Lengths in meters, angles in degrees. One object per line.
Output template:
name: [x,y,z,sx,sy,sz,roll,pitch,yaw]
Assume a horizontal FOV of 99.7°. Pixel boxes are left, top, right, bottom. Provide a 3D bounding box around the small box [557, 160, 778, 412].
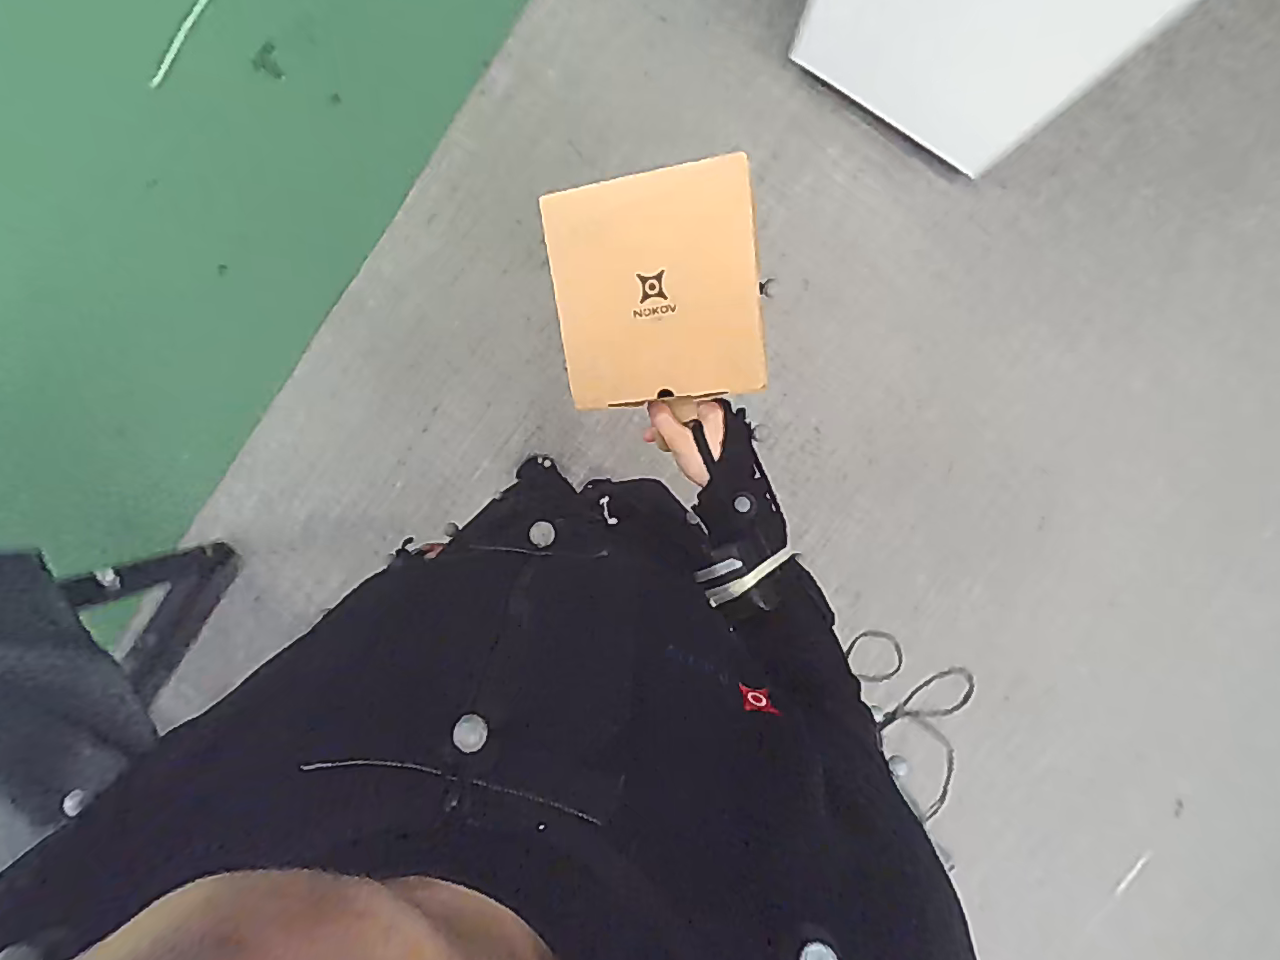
small box: [0.039,-0.167,0.507,0.168,0.176,0.179,-4,106,15]
